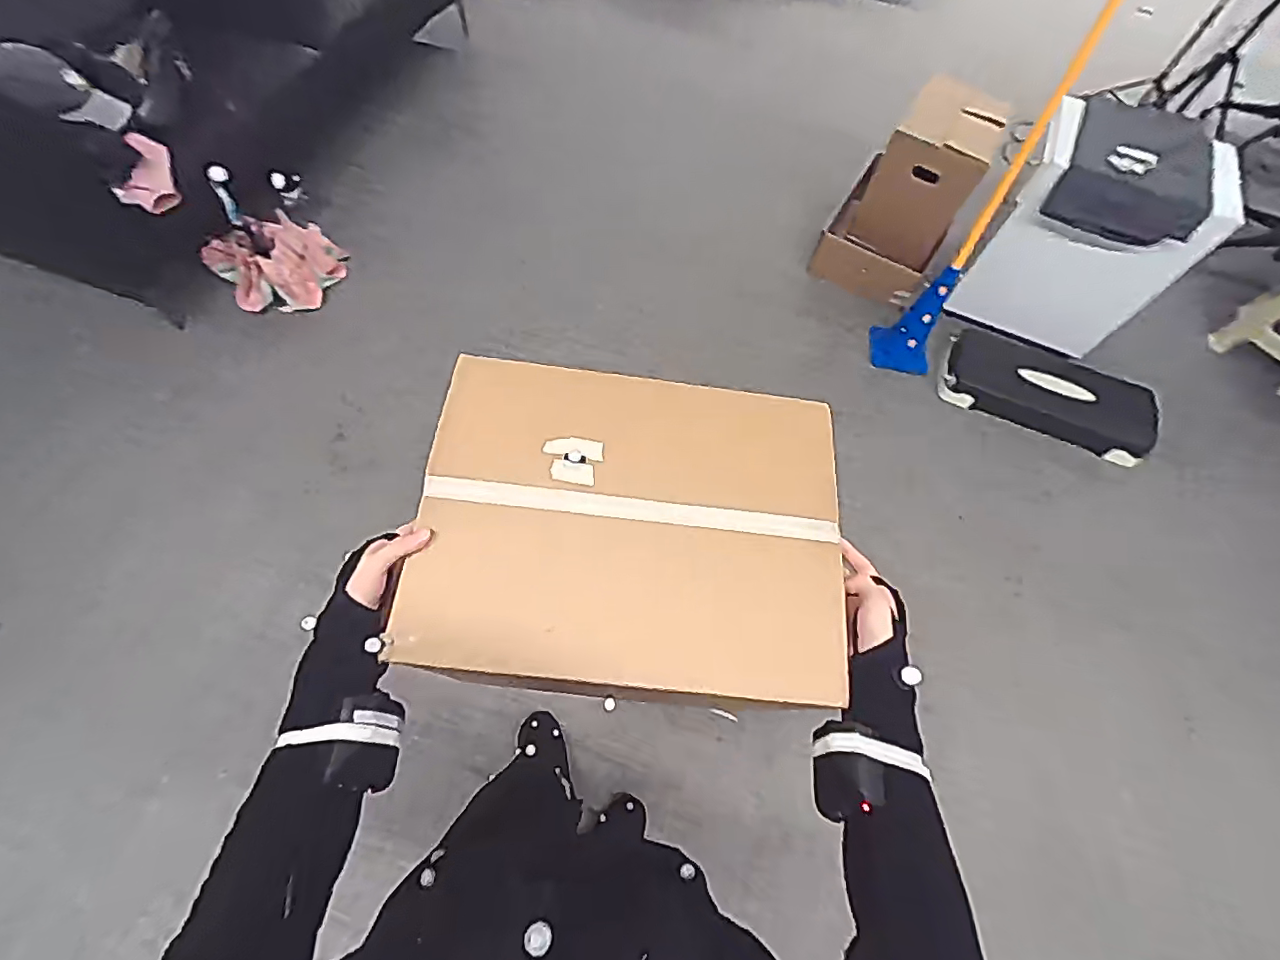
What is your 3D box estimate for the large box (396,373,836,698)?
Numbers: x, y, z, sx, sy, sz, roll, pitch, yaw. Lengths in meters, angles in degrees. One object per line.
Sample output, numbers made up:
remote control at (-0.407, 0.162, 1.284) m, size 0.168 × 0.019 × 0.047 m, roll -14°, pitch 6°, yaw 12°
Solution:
large box at (-0.019, 0.096, 0.678) m, size 0.408 × 0.320 × 0.320 m, roll 6°, pitch 65°, yaw -3°
